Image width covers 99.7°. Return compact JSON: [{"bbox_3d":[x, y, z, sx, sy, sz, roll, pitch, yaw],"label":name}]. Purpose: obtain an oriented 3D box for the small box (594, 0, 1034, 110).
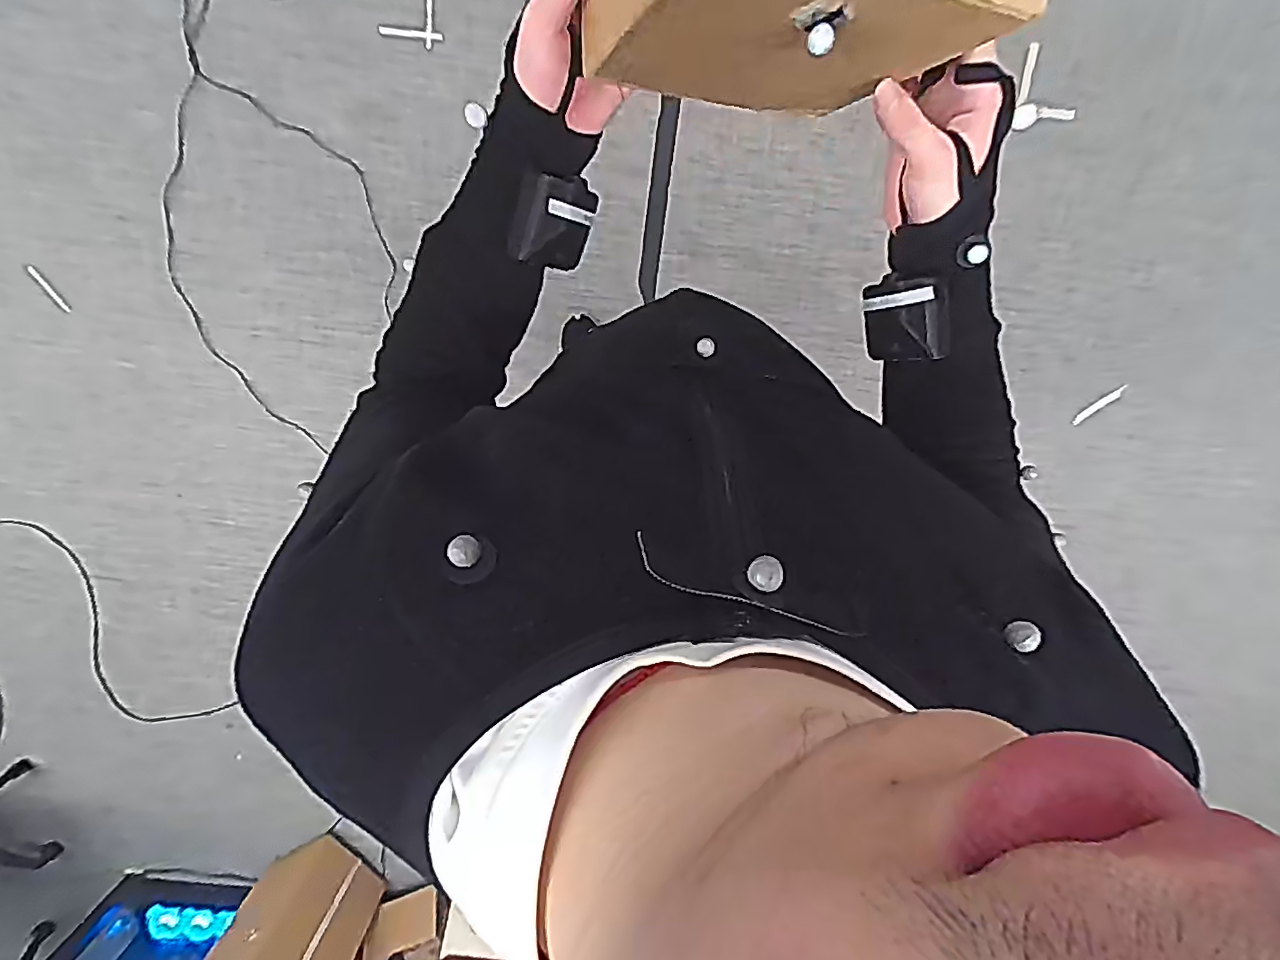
[{"bbox_3d":[0.081,-0.315,0.276,0.179,0.176,0.168,-7,111,-23],"label":"small box"}]
